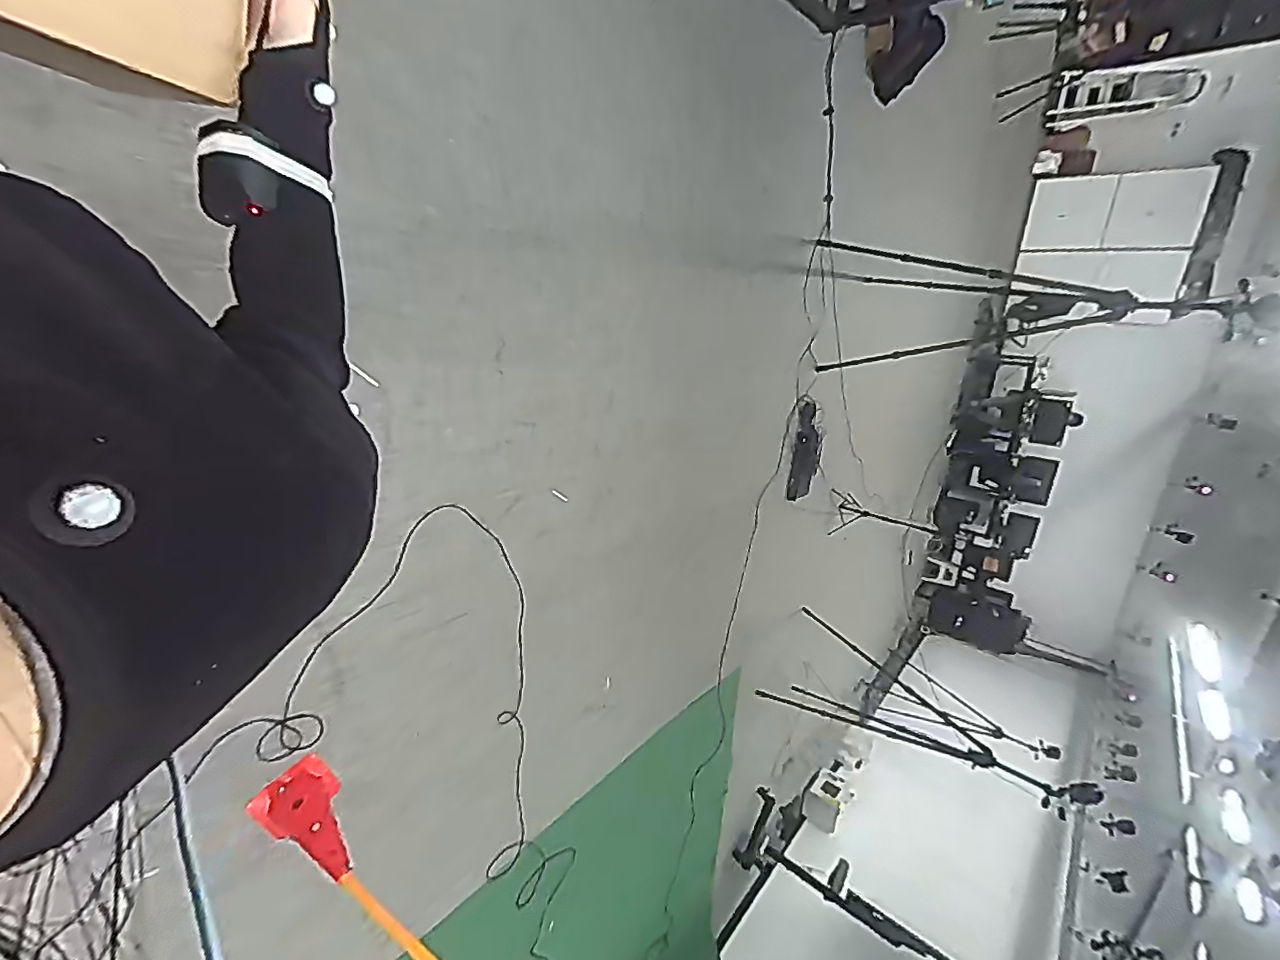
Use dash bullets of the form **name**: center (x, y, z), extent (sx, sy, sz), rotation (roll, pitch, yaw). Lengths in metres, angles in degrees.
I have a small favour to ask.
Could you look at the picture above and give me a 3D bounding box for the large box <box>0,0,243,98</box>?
- **large box**: center (-0.517, -0.484, 0.313), extent (0.408, 0.320, 0.320), rotation (-10, 121, -53)
